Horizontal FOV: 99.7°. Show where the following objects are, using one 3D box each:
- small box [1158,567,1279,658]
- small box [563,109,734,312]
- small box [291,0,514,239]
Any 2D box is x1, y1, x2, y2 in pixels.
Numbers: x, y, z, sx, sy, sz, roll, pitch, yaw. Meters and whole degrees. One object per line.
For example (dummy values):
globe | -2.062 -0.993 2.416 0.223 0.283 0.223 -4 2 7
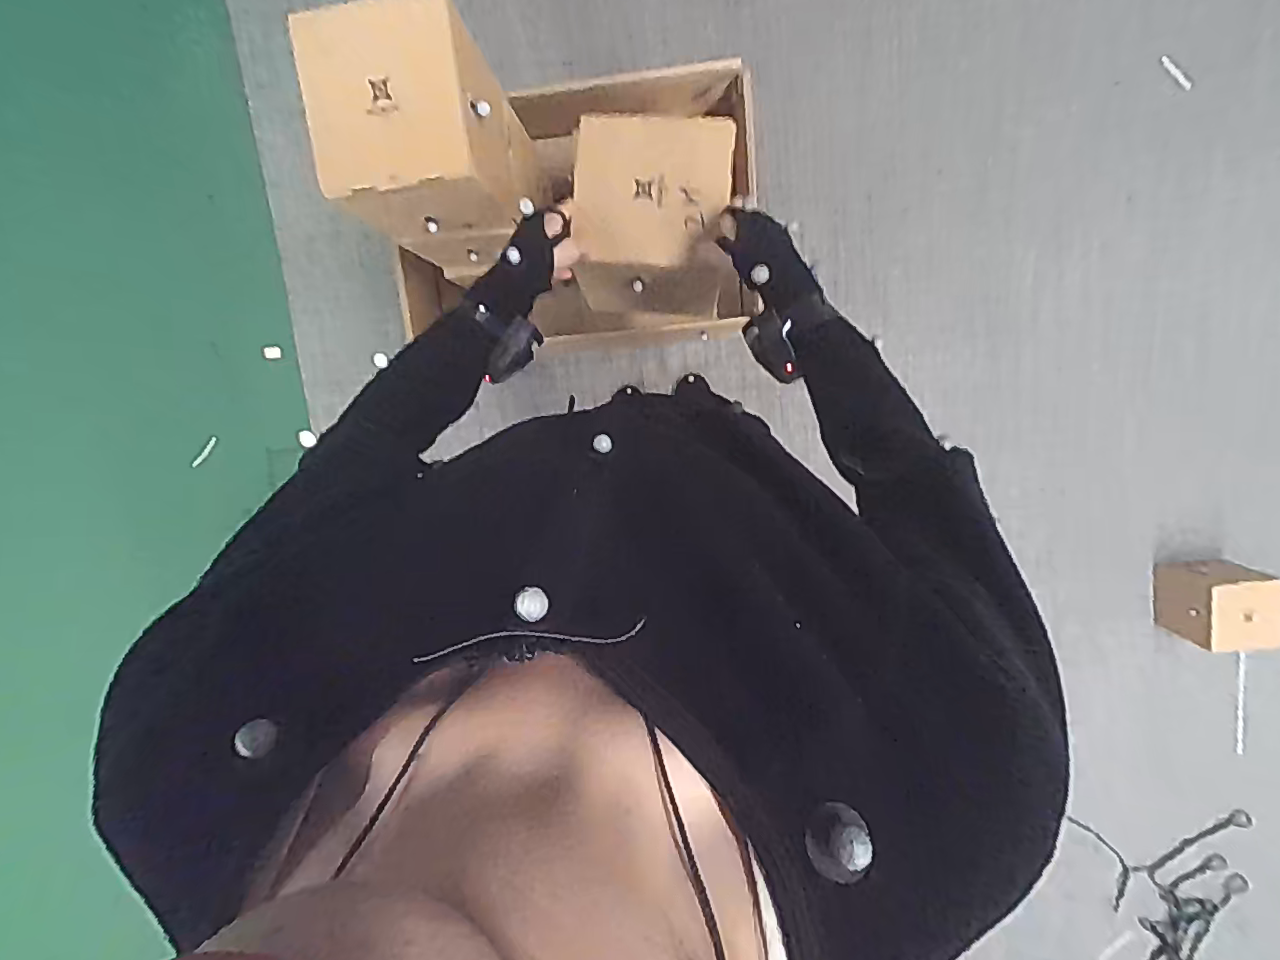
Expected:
small box | 1.463 0.325 1.363 0.168 0.176 0.179 -6 98 6
small box | 0.015 -0.319 0.670 0.179 0.176 0.168 6 89 4
small box | -0.257 -0.403 0.627 0.168 0.176 0.179 -6 99 5
